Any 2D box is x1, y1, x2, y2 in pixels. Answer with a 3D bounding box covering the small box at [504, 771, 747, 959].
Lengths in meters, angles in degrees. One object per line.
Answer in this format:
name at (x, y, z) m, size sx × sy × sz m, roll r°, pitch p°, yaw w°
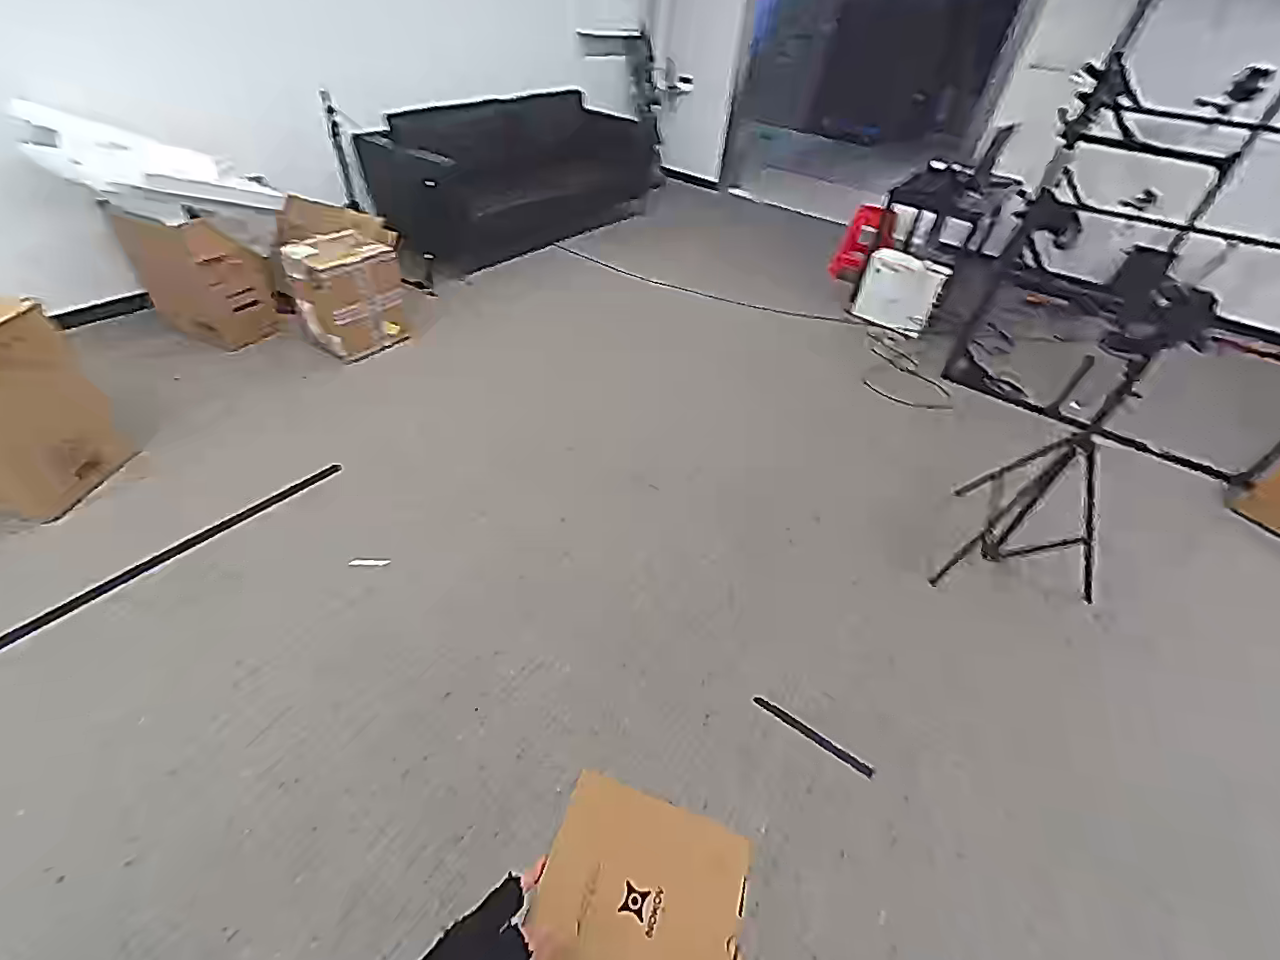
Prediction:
small box at (-0.015, 0.420, 0.521) m, size 0.179 × 0.176 × 0.168 m, roll 18°, pitch 44°, yaw 8°
